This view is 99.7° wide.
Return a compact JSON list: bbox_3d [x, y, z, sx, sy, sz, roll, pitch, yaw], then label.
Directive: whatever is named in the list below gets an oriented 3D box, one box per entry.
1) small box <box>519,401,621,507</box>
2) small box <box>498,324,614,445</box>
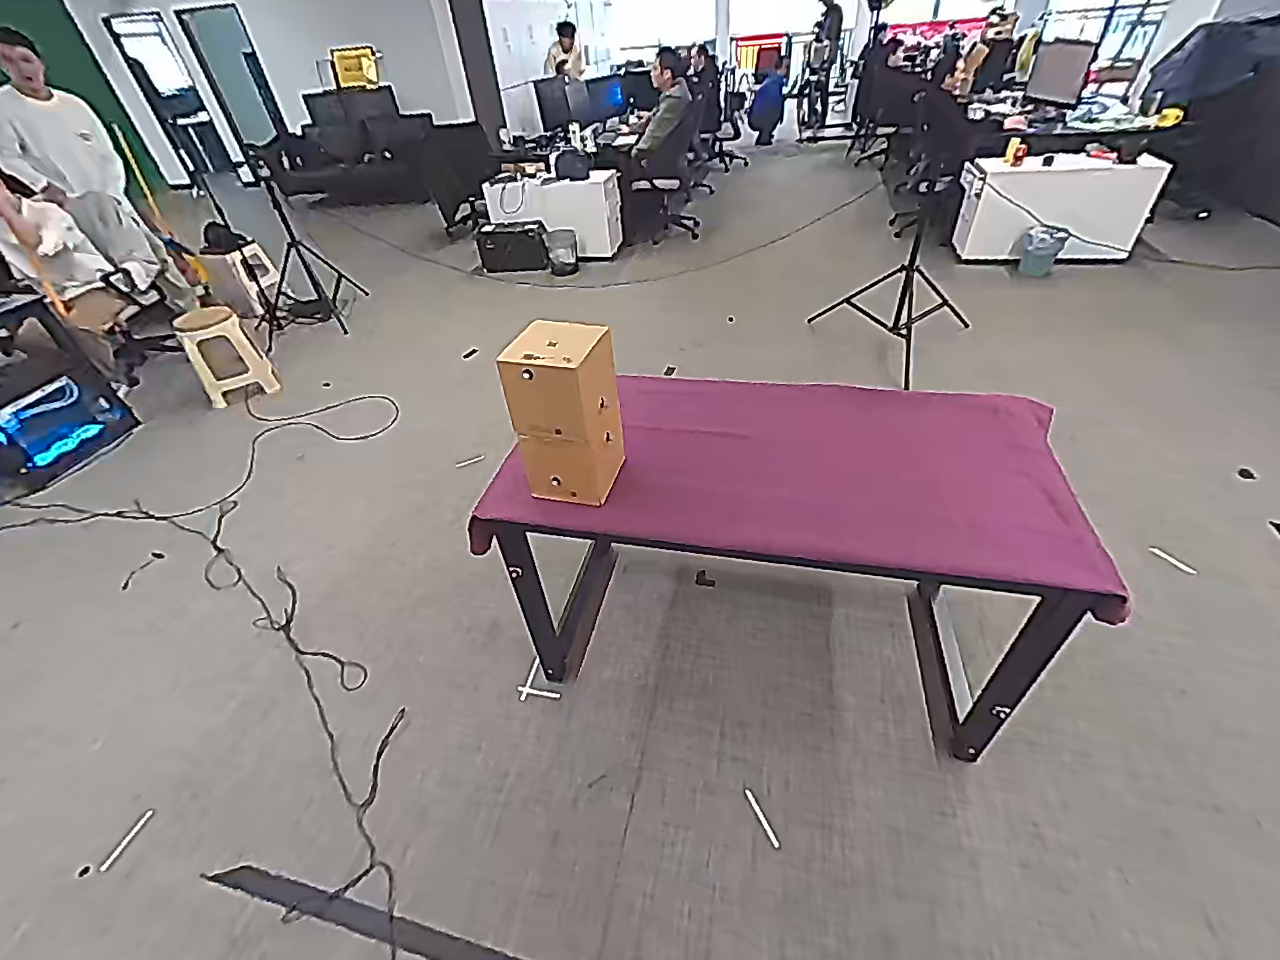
[{"bbox_3d":[-0.143,-0.067,1.186,0.168,0.176,0.179,7,41,14],"label":"small box"},{"bbox_3d":[-0.157,-0.194,1.083,0.168,0.176,0.179,9,41,16],"label":"small box"}]
